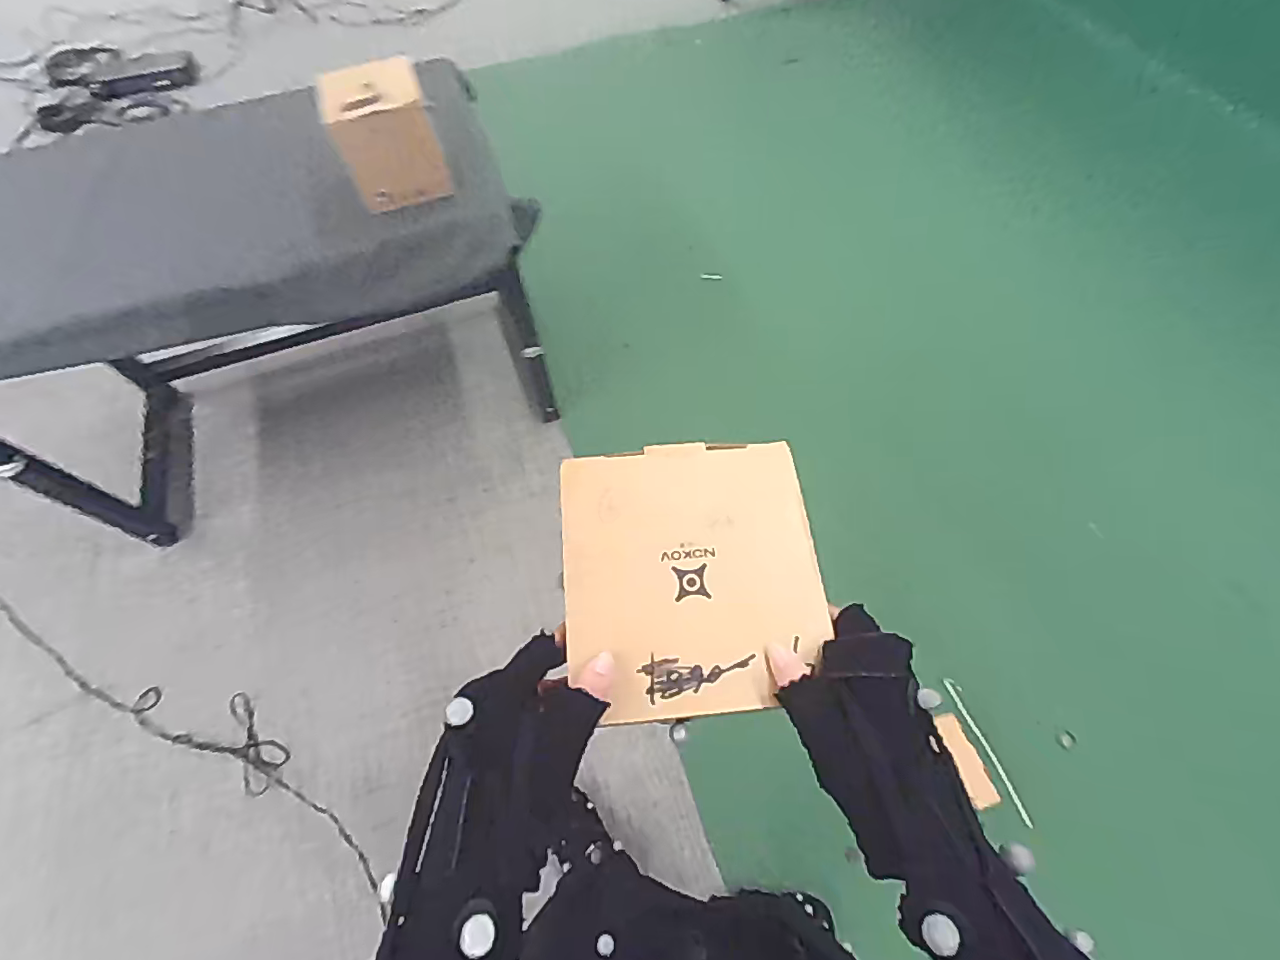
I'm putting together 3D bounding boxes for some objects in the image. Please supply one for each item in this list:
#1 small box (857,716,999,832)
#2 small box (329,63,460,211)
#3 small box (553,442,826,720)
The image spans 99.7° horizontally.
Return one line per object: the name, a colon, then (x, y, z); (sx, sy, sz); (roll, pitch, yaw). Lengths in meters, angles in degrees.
small box: (0.590, 0.612, 1.136); (0.179, 0.176, 0.168); (-17, 61, -6)
small box: (-0.453, -0.633, 1.015); (0.168, 0.176, 0.179); (-18, 61, -7)
small box: (0.023, 0.089, 0.430); (0.168, 0.176, 0.179); (-5, 67, -3)
